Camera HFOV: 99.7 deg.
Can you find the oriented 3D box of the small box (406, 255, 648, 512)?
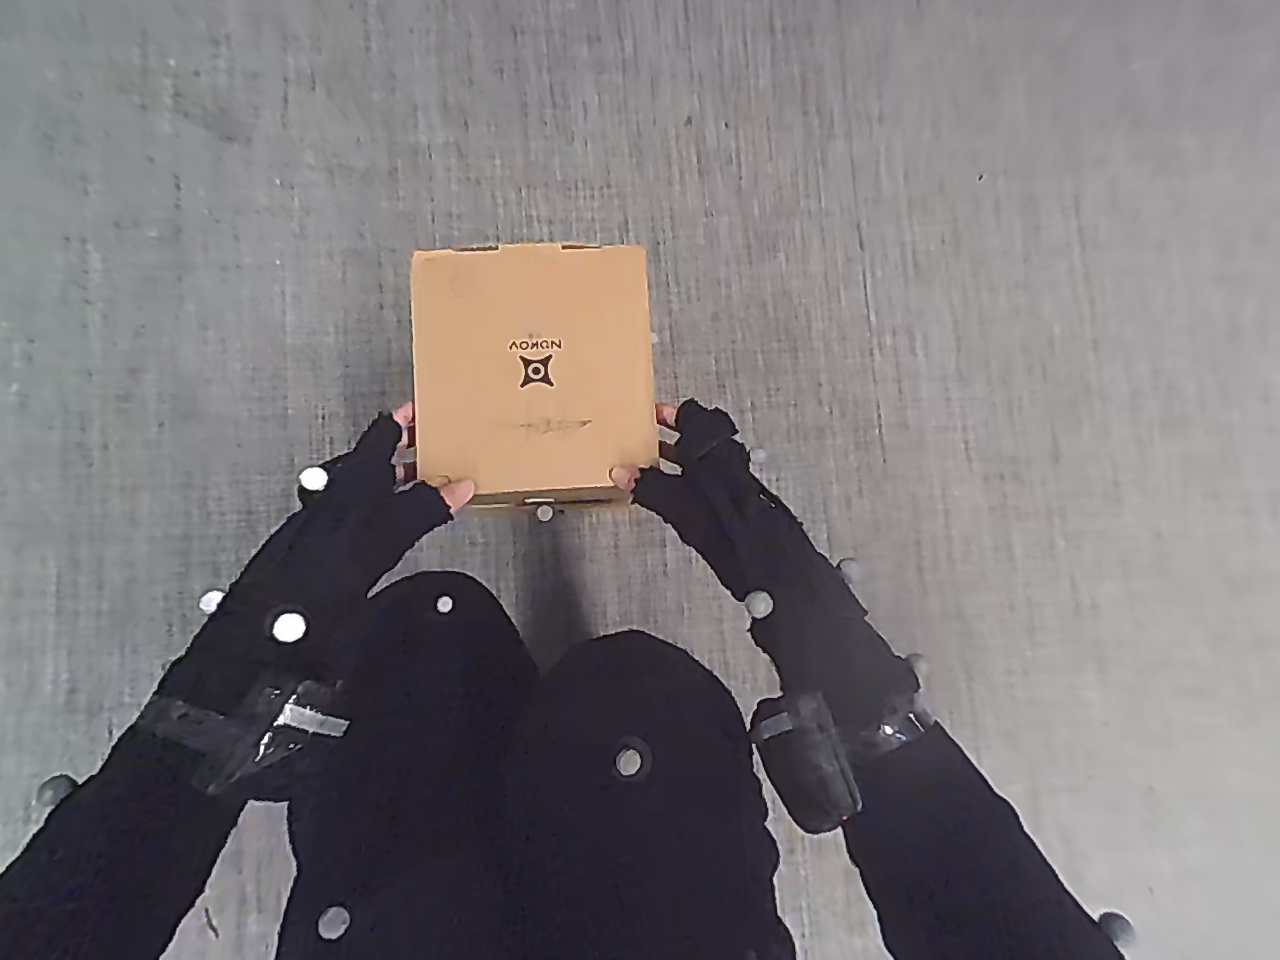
[{"bbox_3d":[-0.085,-0.066,0.456,0.168,0.176,0.179,-3,86,-4],"label":"small box"}]
